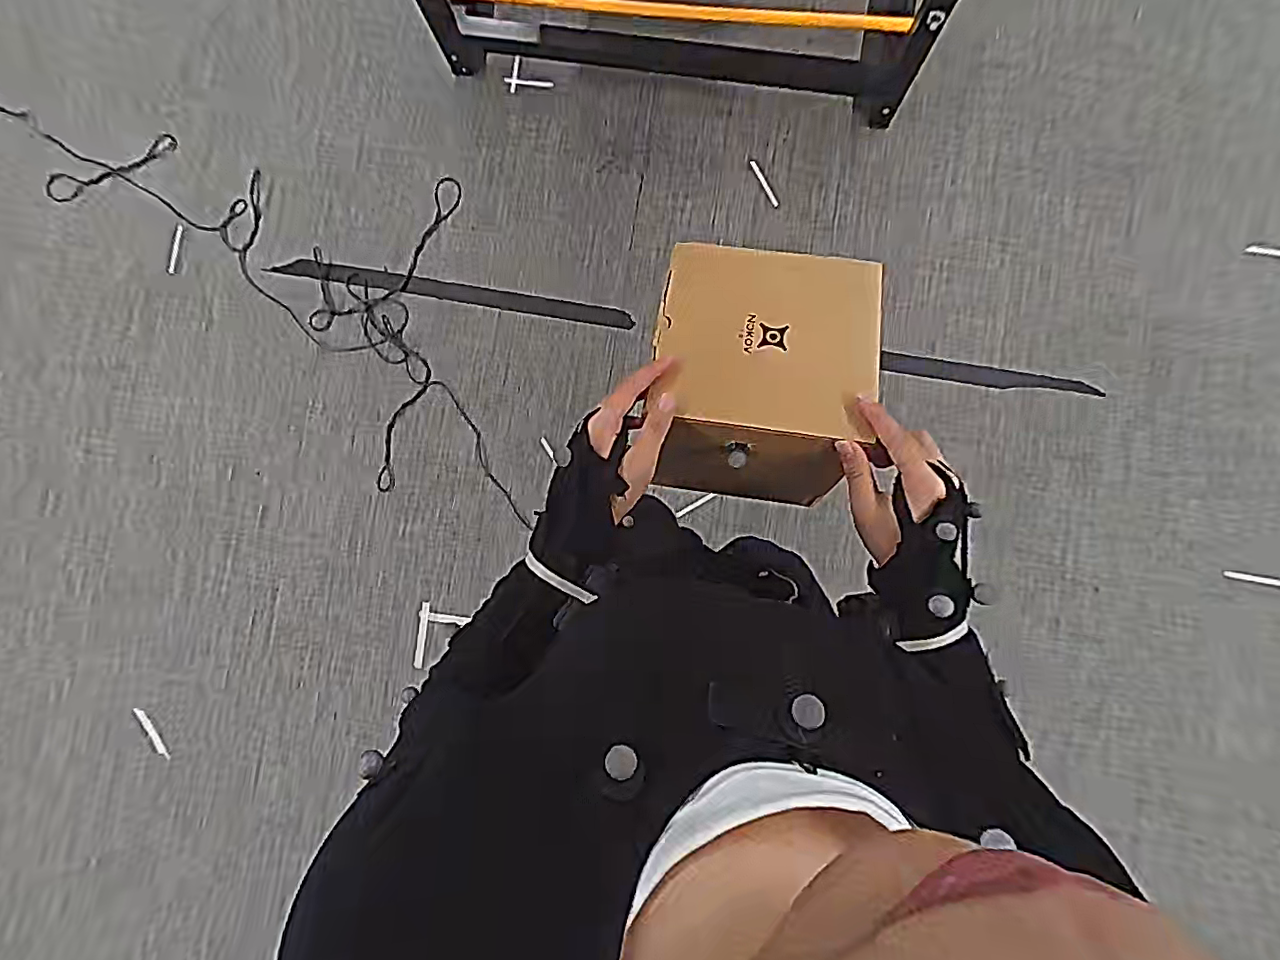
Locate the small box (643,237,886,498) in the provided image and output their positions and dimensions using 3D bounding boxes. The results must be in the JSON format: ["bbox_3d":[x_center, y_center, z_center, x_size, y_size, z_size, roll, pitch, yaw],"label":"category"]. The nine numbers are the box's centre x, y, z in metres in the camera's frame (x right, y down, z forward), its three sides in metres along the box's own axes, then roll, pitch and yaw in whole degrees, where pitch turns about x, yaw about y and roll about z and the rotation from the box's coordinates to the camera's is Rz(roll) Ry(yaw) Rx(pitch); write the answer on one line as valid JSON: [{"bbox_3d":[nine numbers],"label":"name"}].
[{"bbox_3d":[0.104,-0.090,0.498,0.179,0.176,0.168,8,72,6],"label":"small box"}]
